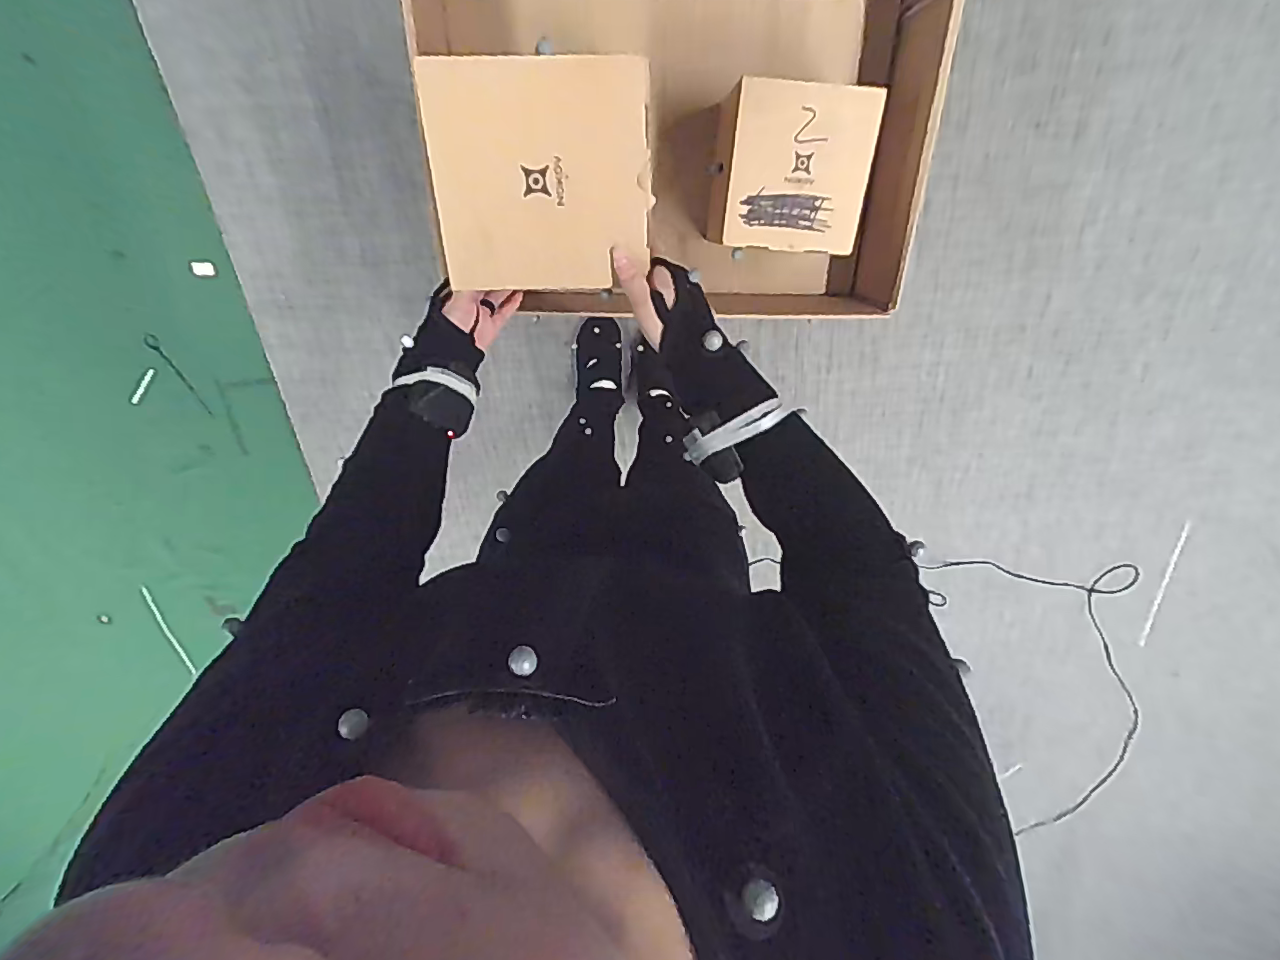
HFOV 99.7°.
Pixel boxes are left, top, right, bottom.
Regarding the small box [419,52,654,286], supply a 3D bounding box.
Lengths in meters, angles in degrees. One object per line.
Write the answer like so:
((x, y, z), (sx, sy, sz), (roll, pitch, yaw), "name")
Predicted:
((-0.081, -0.276, 0.505), (0.179, 0.176, 0.168), (-2, 117, -4), "small box")
